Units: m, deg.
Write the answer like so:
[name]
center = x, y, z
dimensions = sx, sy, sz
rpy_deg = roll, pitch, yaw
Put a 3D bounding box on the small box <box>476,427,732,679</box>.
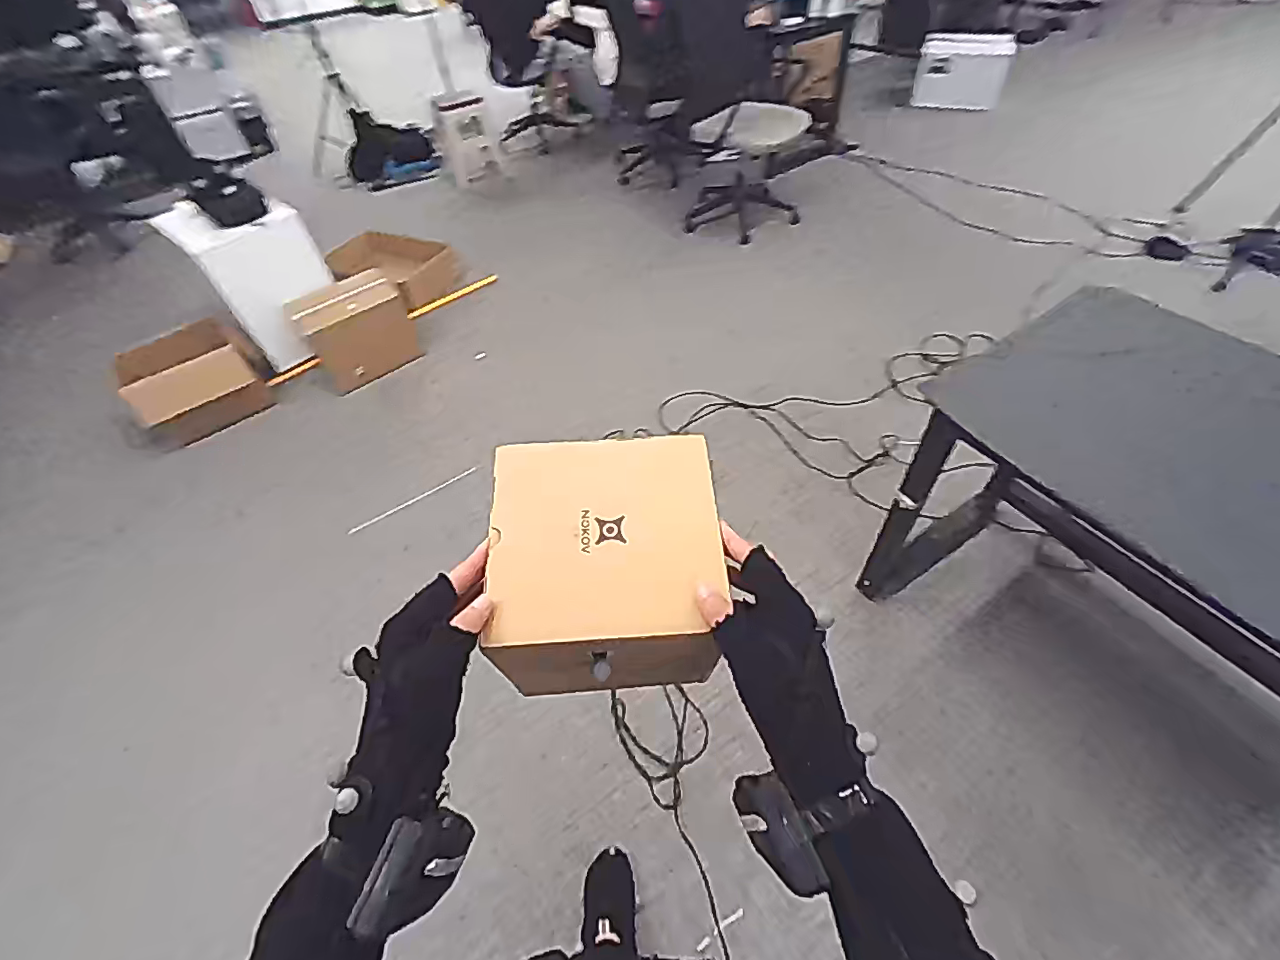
[small box]
center = -0.027, 0.071, 0.473
dimensions = 0.179, 0.176, 0.168
rpy_deg = -3, 59, -1
